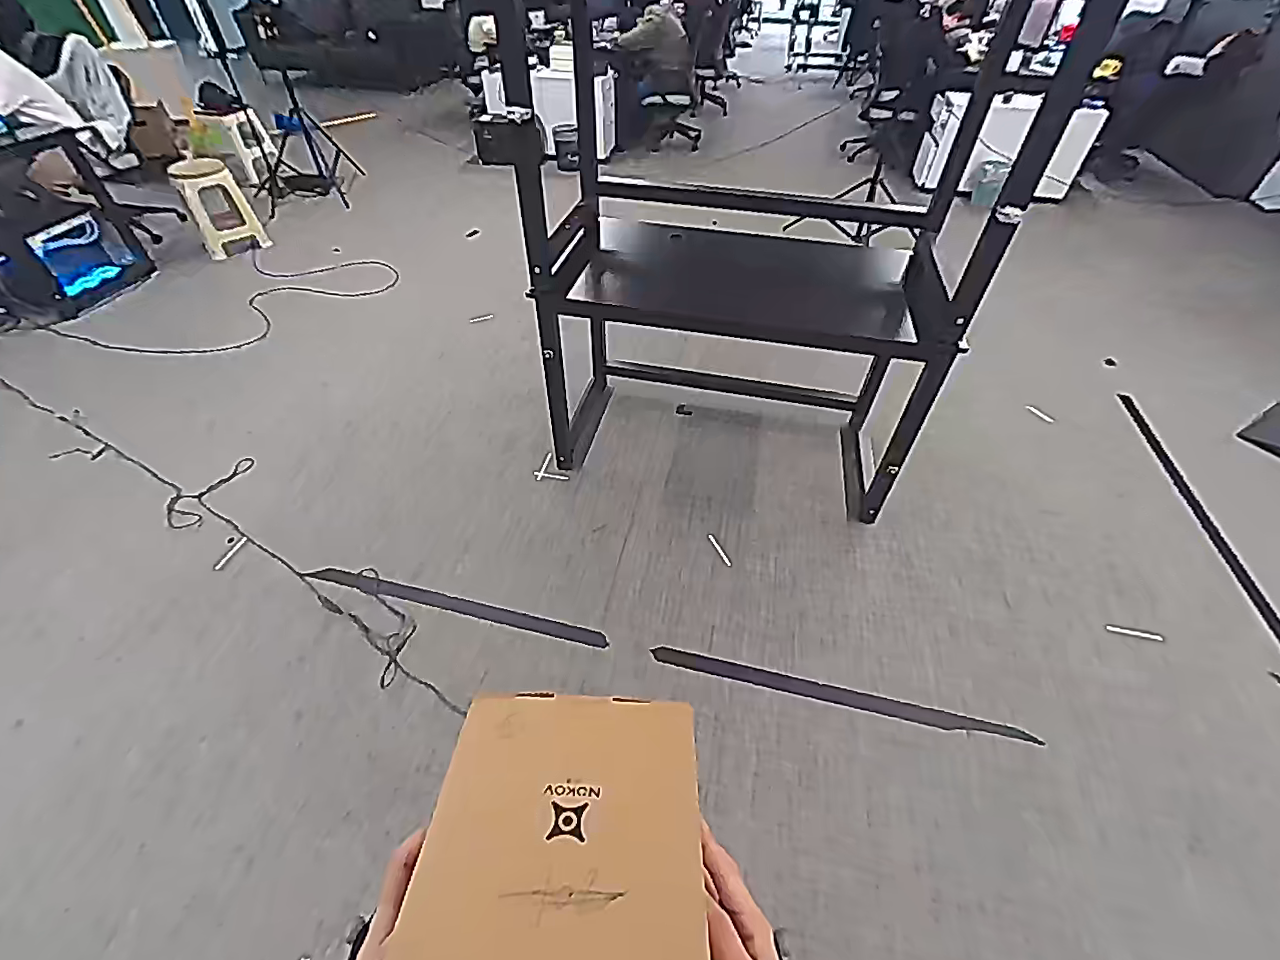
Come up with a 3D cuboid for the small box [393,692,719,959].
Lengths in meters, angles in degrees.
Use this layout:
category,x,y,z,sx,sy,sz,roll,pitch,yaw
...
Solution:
category,x,y,z,sx,sy,sz,roll,pitch,yaw
small box,-0.044,0.276,0.371,0.168,0.176,0.179,2,30,-1
